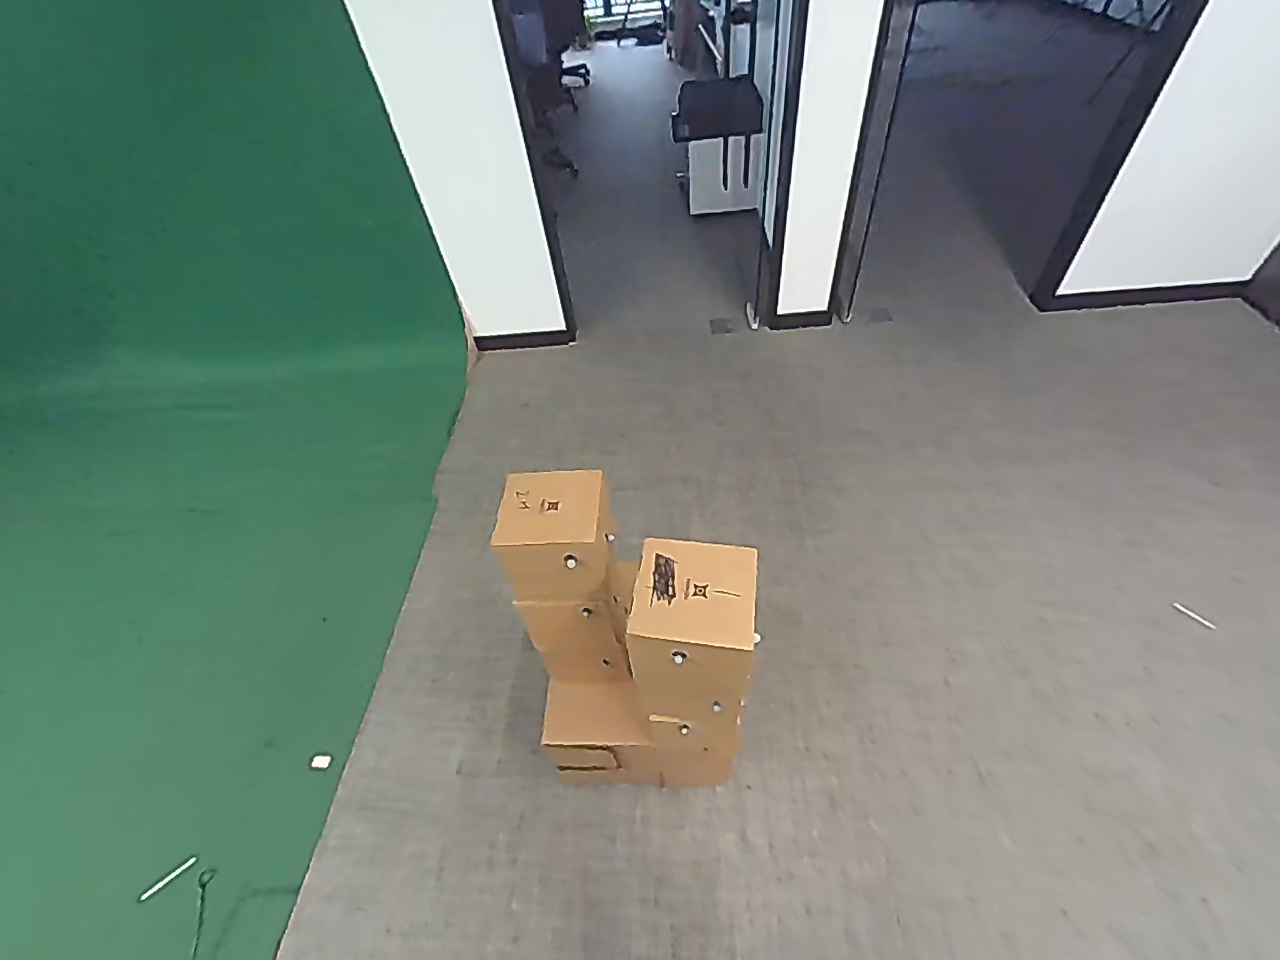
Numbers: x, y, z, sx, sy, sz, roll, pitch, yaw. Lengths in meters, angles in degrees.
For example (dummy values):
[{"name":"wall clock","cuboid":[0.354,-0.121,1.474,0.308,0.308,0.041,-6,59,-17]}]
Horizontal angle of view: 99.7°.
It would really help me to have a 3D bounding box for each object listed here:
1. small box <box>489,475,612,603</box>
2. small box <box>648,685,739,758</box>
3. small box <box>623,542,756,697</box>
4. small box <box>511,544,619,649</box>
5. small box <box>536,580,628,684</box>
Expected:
[{"name":"small box","cuboid":[-0.148,0.109,0.976,0.179,0.176,0.168,-3,45,5]},{"name":"small box","cuboid":[0.109,0.433,1.085,0.168,0.176,0.179,0,47,7]},{"name":"small box","cuboid":[0.081,0.218,0.837,0.179,0.176,0.168,5,49,9]},{"name":"small box","cuboid":[-0.141,0.227,1.091,0.179,0.176,0.168,-3,45,4]},{"name":"small box","cuboid":[-0.118,0.341,1.205,0.179,0.176,0.168,-5,45,4]}]
